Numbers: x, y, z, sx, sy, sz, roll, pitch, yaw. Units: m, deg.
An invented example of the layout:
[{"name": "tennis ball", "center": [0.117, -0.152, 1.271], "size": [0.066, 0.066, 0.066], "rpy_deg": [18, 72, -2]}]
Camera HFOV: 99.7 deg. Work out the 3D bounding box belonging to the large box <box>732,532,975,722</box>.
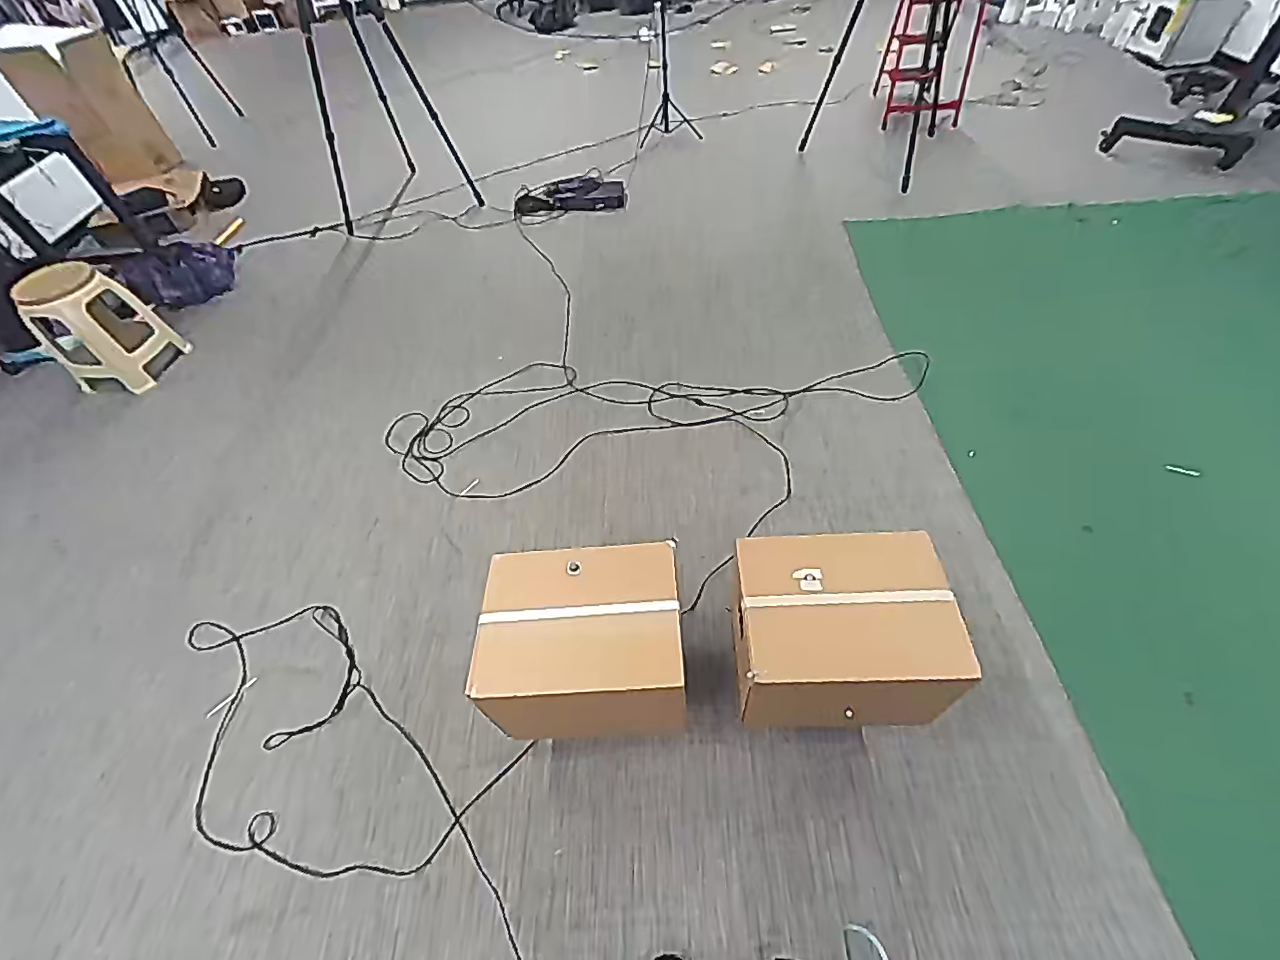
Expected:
[{"name": "large box", "center": [0.424, 0.334, 1.193], "size": [0.408, 0.320, 0.320], "rpy_deg": [-3, 51, 5]}]
